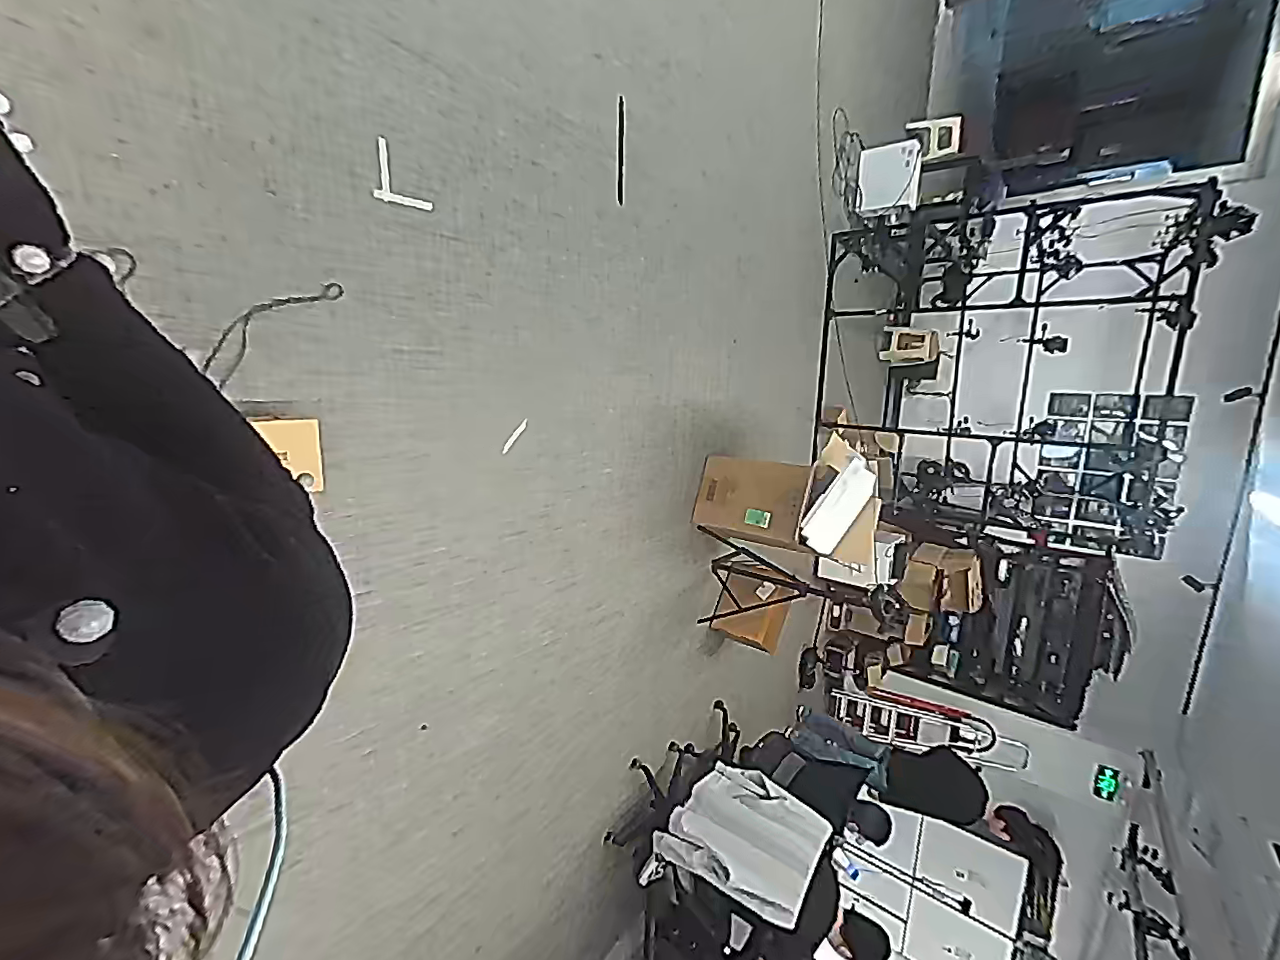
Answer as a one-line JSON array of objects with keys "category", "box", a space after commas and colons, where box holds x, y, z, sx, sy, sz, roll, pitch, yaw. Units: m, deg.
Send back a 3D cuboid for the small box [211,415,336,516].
[{"category": "small box", "box": [-0.841, -0.034, 1.252, 0.179, 0.176, 0.168, -39, 149, -64]}]
